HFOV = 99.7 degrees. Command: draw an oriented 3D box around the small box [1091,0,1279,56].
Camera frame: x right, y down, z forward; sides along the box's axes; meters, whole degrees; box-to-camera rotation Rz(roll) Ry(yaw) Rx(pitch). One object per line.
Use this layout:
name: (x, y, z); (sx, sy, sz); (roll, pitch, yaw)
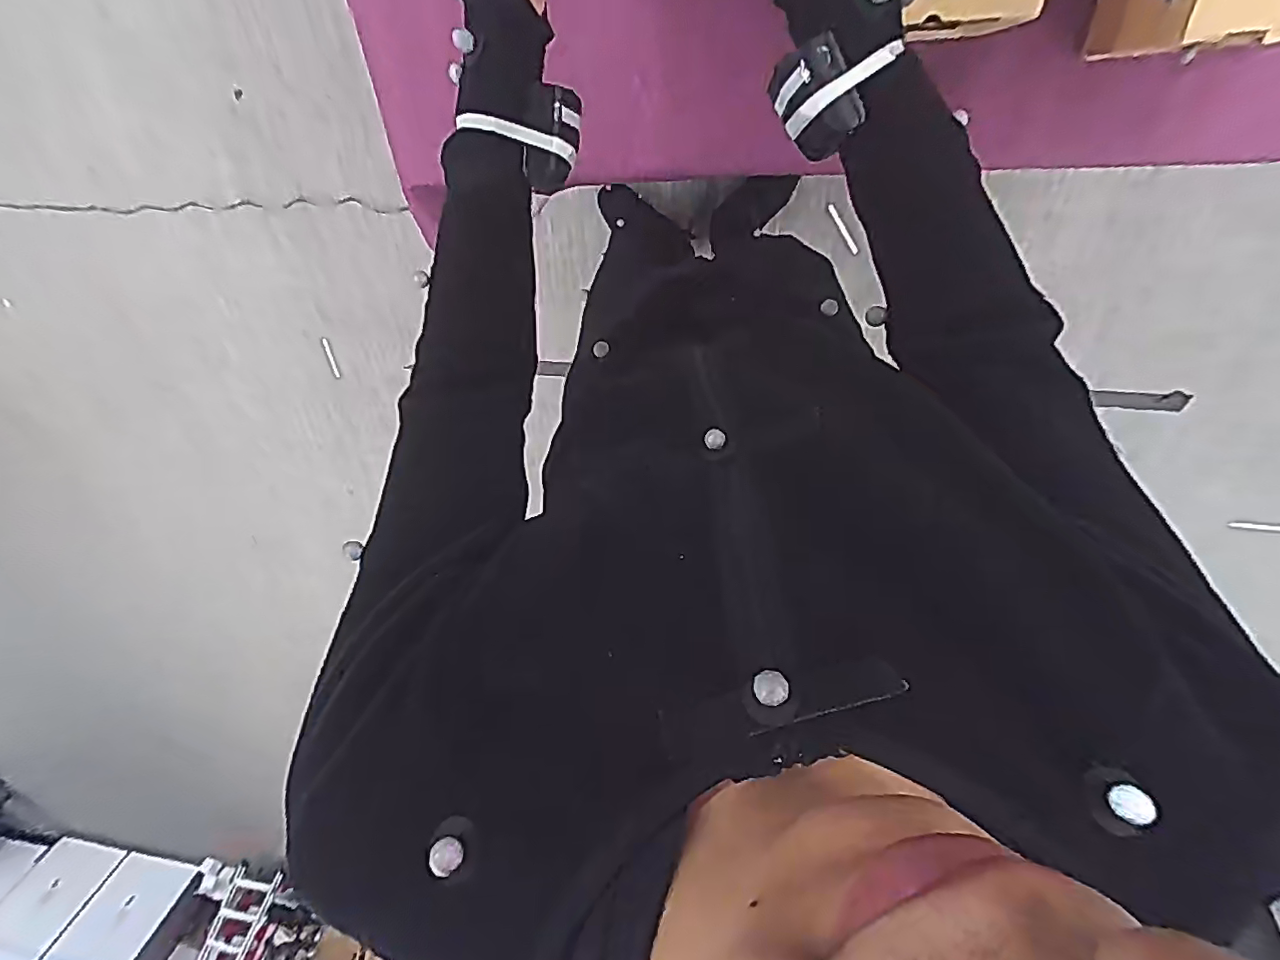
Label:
small box: (0.521, -0.468, 0.439); (0.168, 0.176, 0.179); (2, 125, 11)
